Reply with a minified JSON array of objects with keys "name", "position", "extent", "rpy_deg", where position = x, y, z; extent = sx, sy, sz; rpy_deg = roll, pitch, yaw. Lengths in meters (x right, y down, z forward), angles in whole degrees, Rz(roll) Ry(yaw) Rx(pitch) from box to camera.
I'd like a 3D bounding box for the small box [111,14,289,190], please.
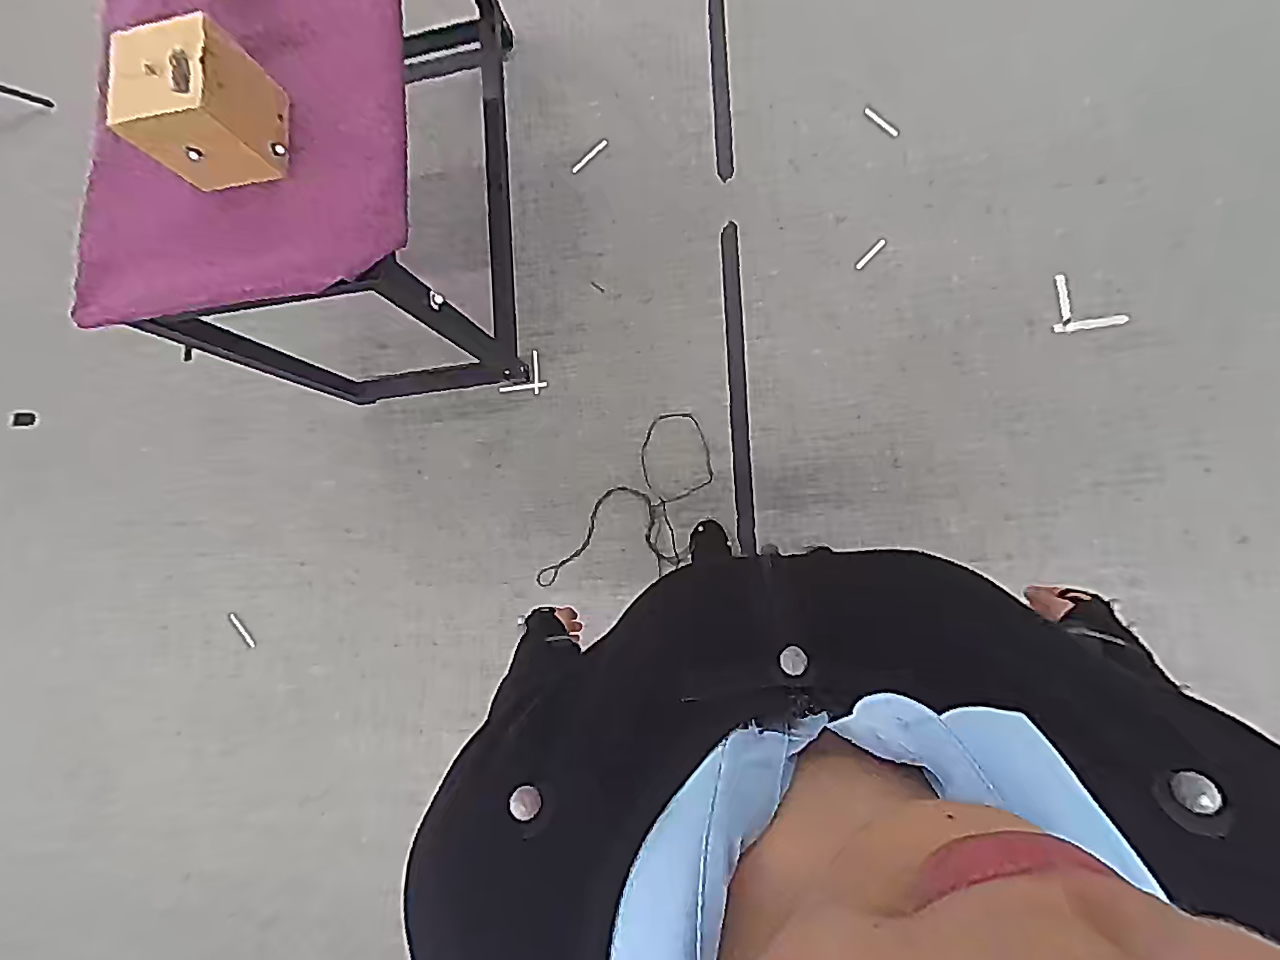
[{"name":"small box","position":[-0.736,-0.629,0.921],"extent":[0.179,0.176,0.168],"rpy_deg":[-4,83,9]}]
